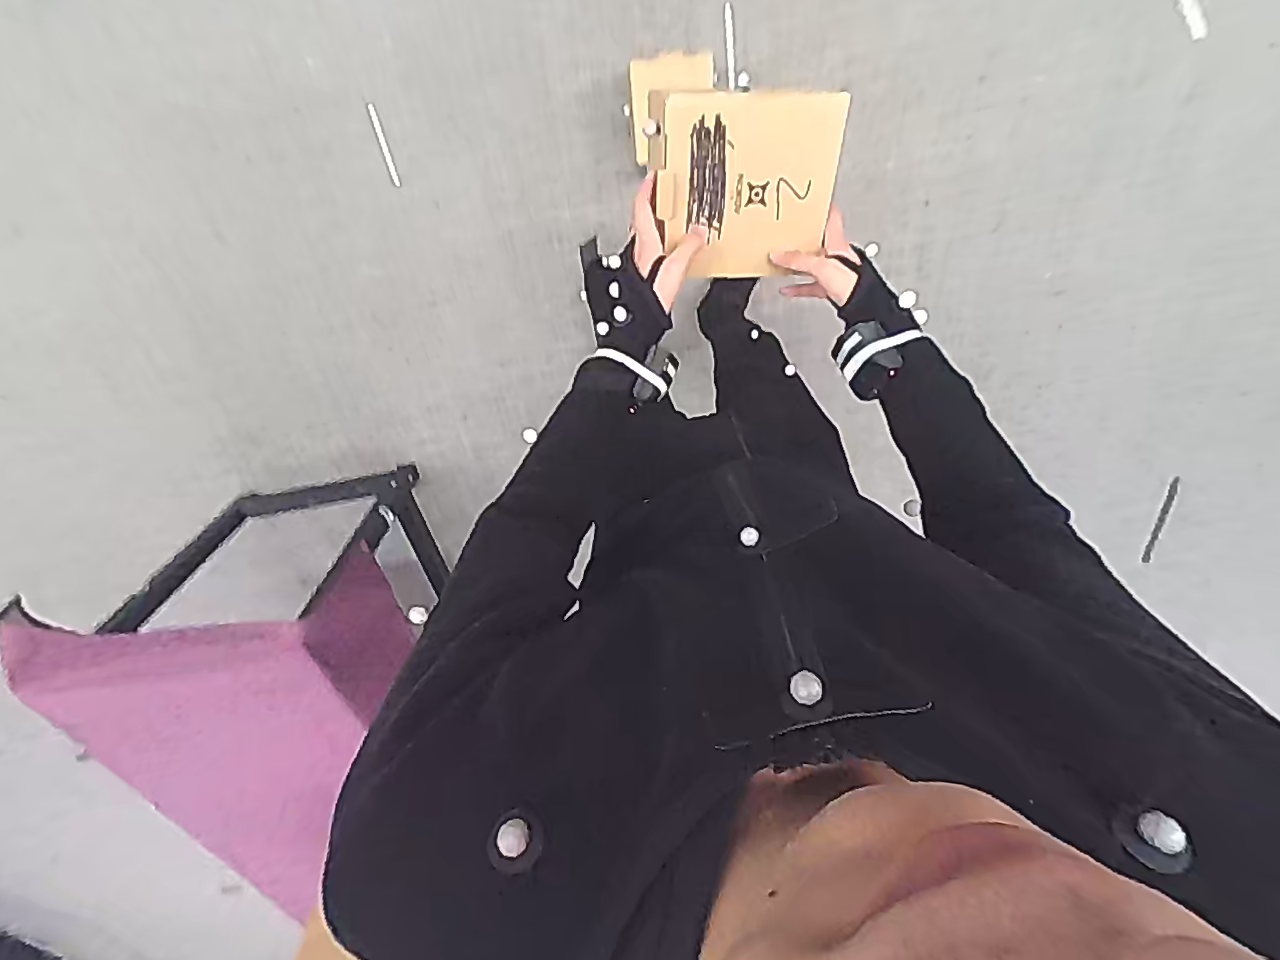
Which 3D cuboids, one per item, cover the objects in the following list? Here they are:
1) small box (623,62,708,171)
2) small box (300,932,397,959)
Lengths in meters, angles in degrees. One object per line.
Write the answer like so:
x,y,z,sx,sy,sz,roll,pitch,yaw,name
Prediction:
0.053,-0.780,1.171,0.168,0.176,0.179,-6,121,0,small box
-0.711,1.208,1.271,0.179,0.176,0.168,-20,121,8,small box
